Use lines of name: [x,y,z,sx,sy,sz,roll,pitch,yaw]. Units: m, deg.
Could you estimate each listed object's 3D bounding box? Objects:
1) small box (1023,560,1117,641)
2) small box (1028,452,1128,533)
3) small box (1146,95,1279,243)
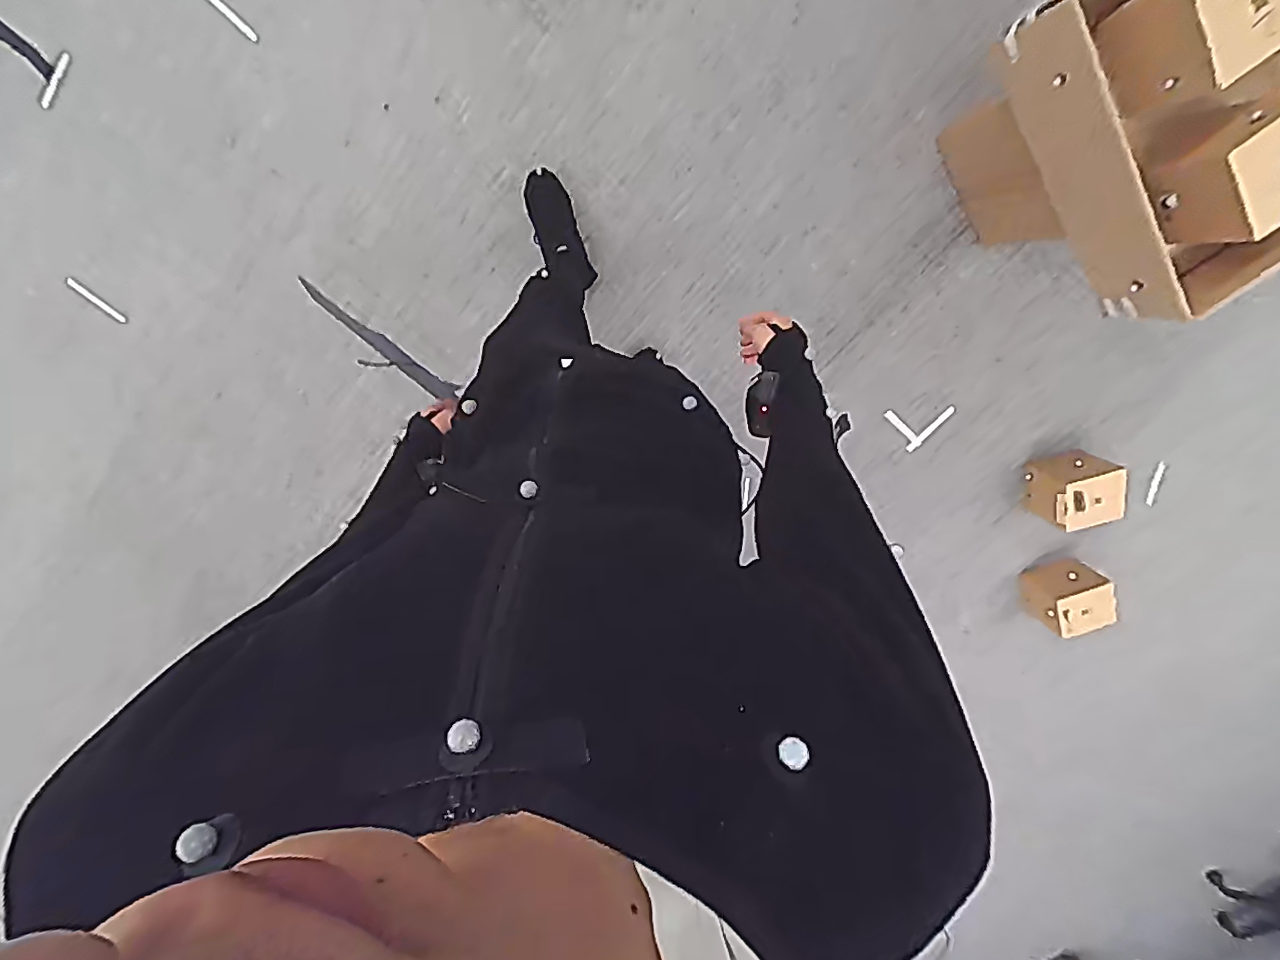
small box: [1.407,0.389,1.775,0.179,0.176,0.168,-22,110,6]
small box: [1.310,0.033,1.631,0.179,0.176,0.168,-16,111,4]
small box: [1.058,-0.542,0.942,0.179,0.176,0.168,-37,107,9]
